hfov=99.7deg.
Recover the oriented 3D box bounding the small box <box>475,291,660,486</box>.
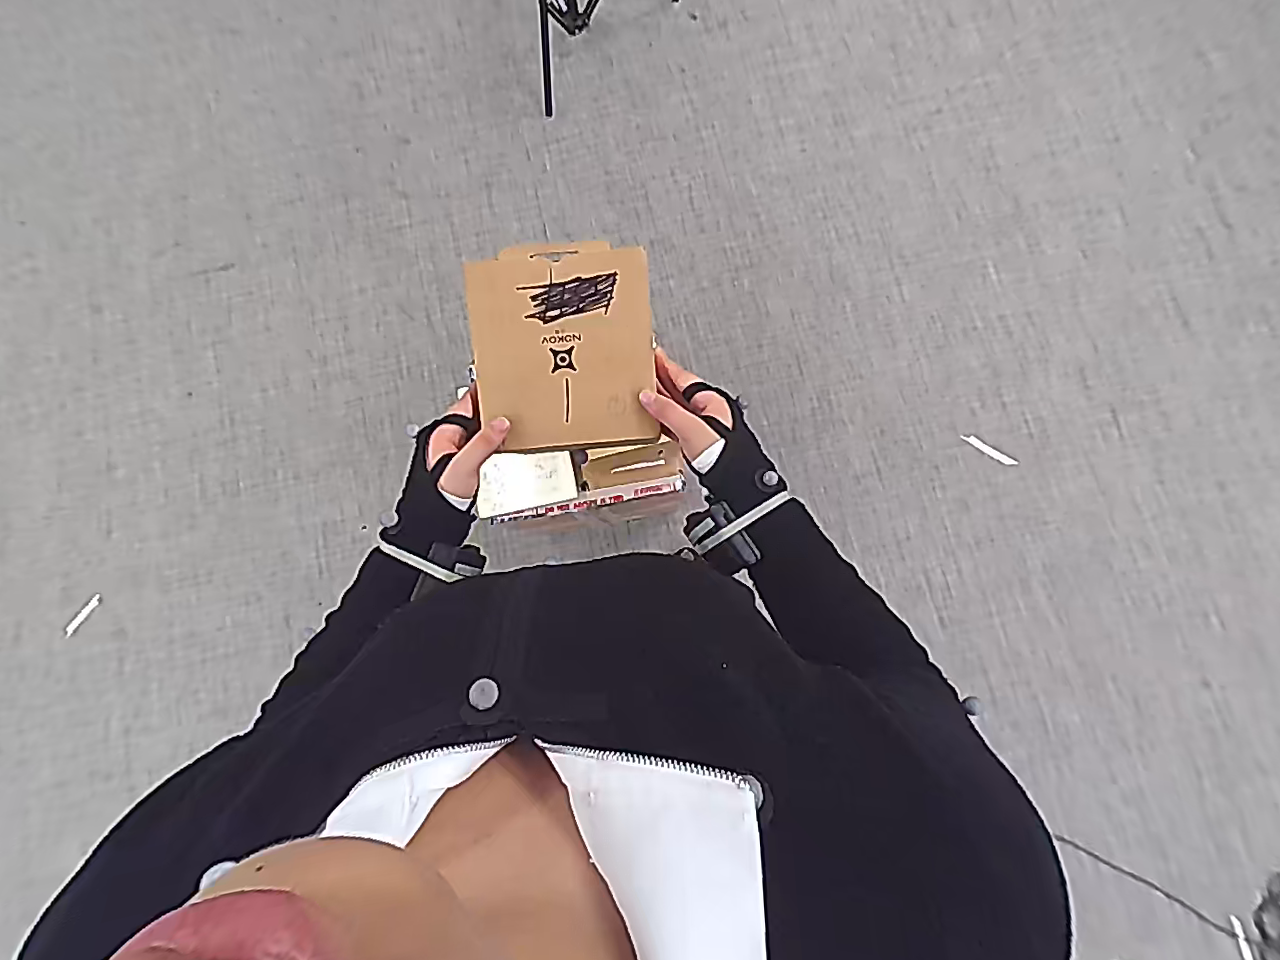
[{"bbox_3d":[-0.068,-0.088,0.586,0.168,0.176,0.179,-5,93,0],"label":"small box"}]

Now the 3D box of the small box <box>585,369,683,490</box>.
[{"bbox_3d":[-0.030,-0.085,0.997,0.179,0.176,0.168,-14,82,-2],"label":"small box"}]
